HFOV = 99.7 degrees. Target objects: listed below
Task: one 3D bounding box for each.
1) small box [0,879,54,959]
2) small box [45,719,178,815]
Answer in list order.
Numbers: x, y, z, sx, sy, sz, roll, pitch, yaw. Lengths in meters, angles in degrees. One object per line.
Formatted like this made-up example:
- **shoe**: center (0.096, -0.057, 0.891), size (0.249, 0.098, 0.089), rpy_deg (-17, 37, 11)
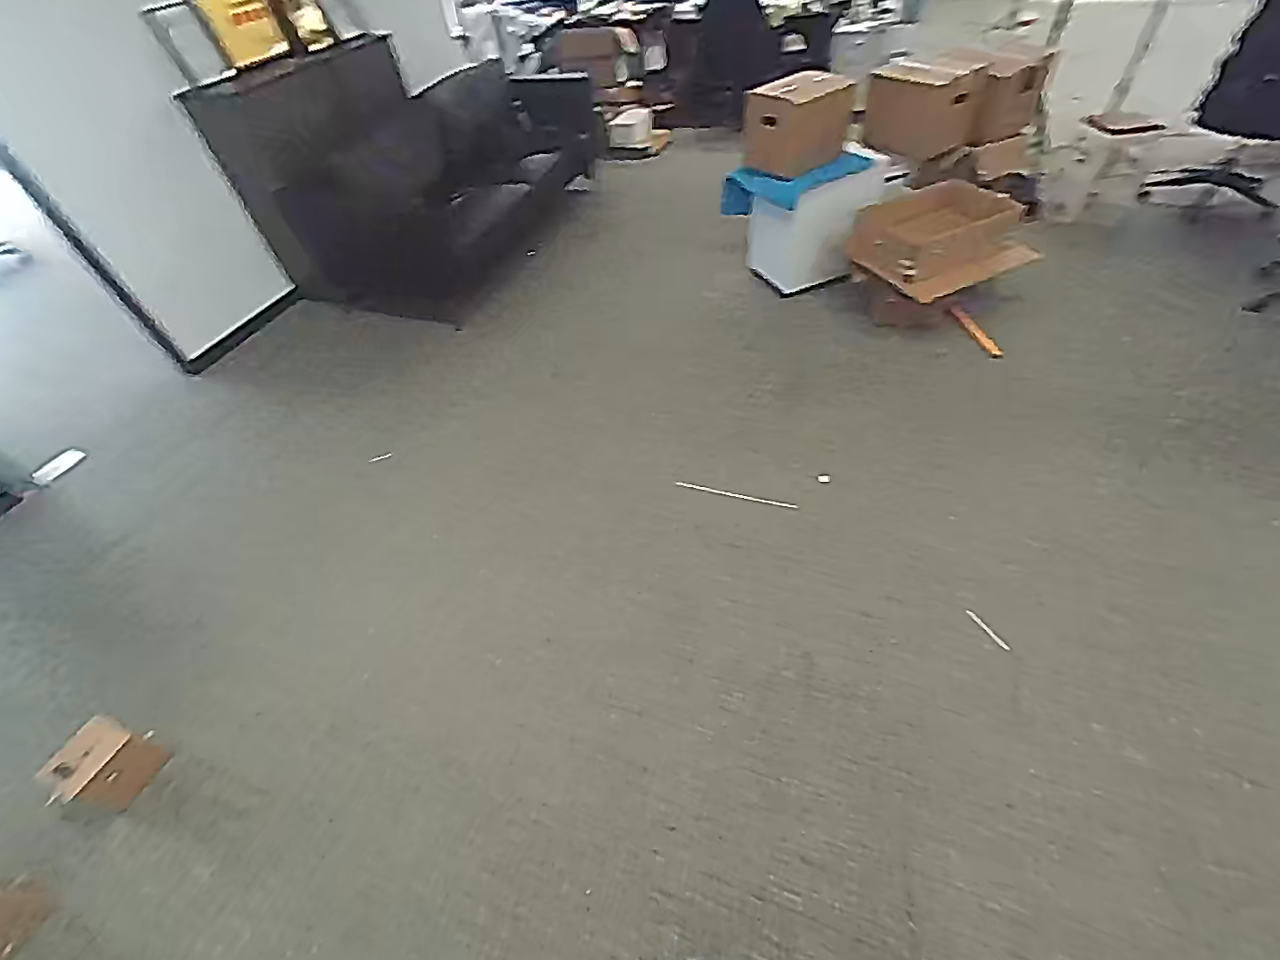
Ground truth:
- **small box**: center (-1.597, 1.096, 1.308), size (0.168, 0.176, 0.179), rpy_deg (15, 51, 20)
- **small box**: center (-1.494, 0.822, 1.541), size (0.168, 0.176, 0.179), rpy_deg (14, 50, 19)
